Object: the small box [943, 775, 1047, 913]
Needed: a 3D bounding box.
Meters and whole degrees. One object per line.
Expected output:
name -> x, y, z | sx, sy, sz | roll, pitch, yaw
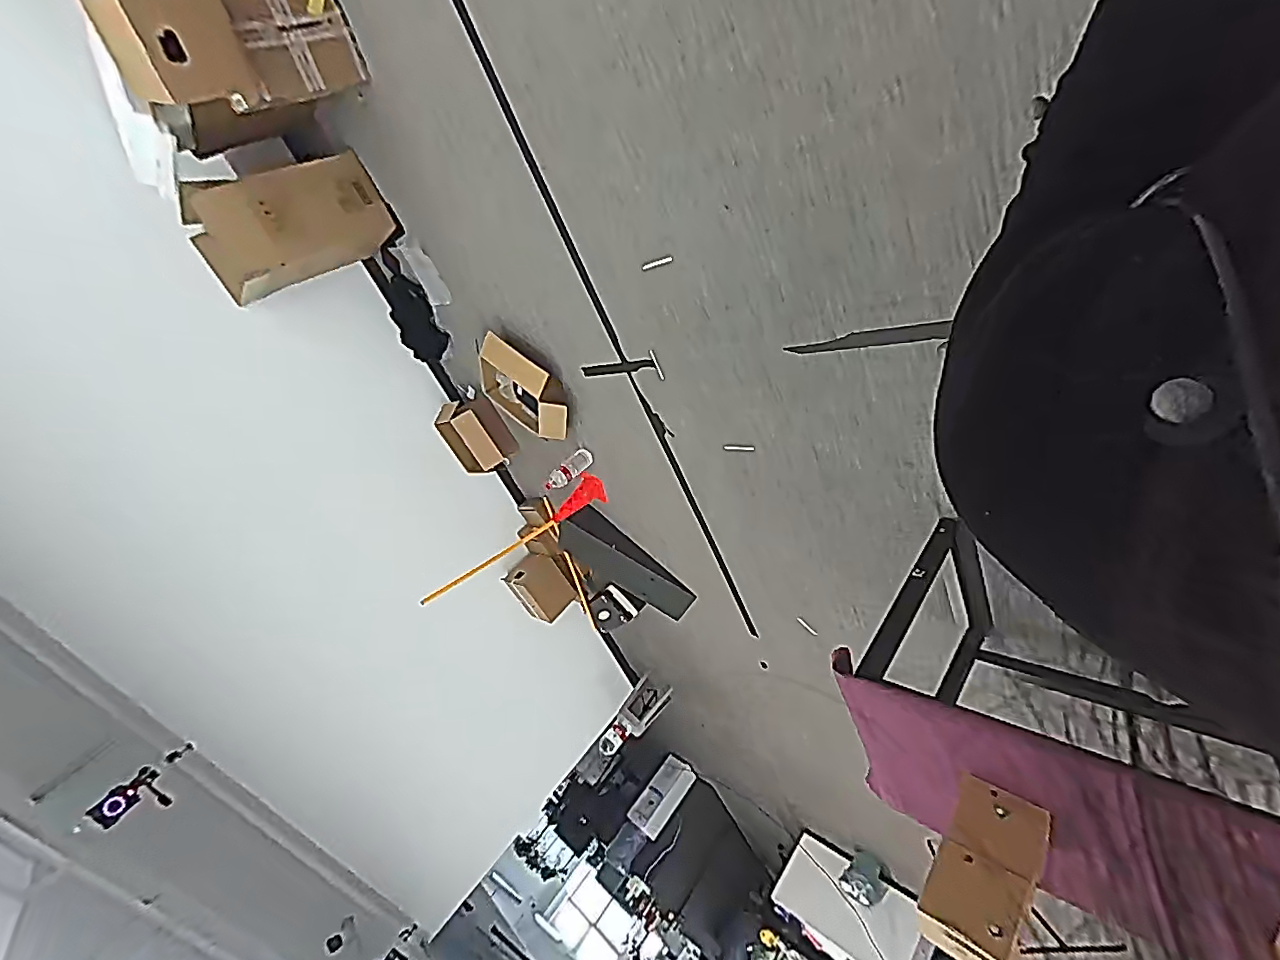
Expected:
small box -> 0.822, 0.833, 1.250 | 0.168, 0.176, 0.179 | 11, 135, 44
